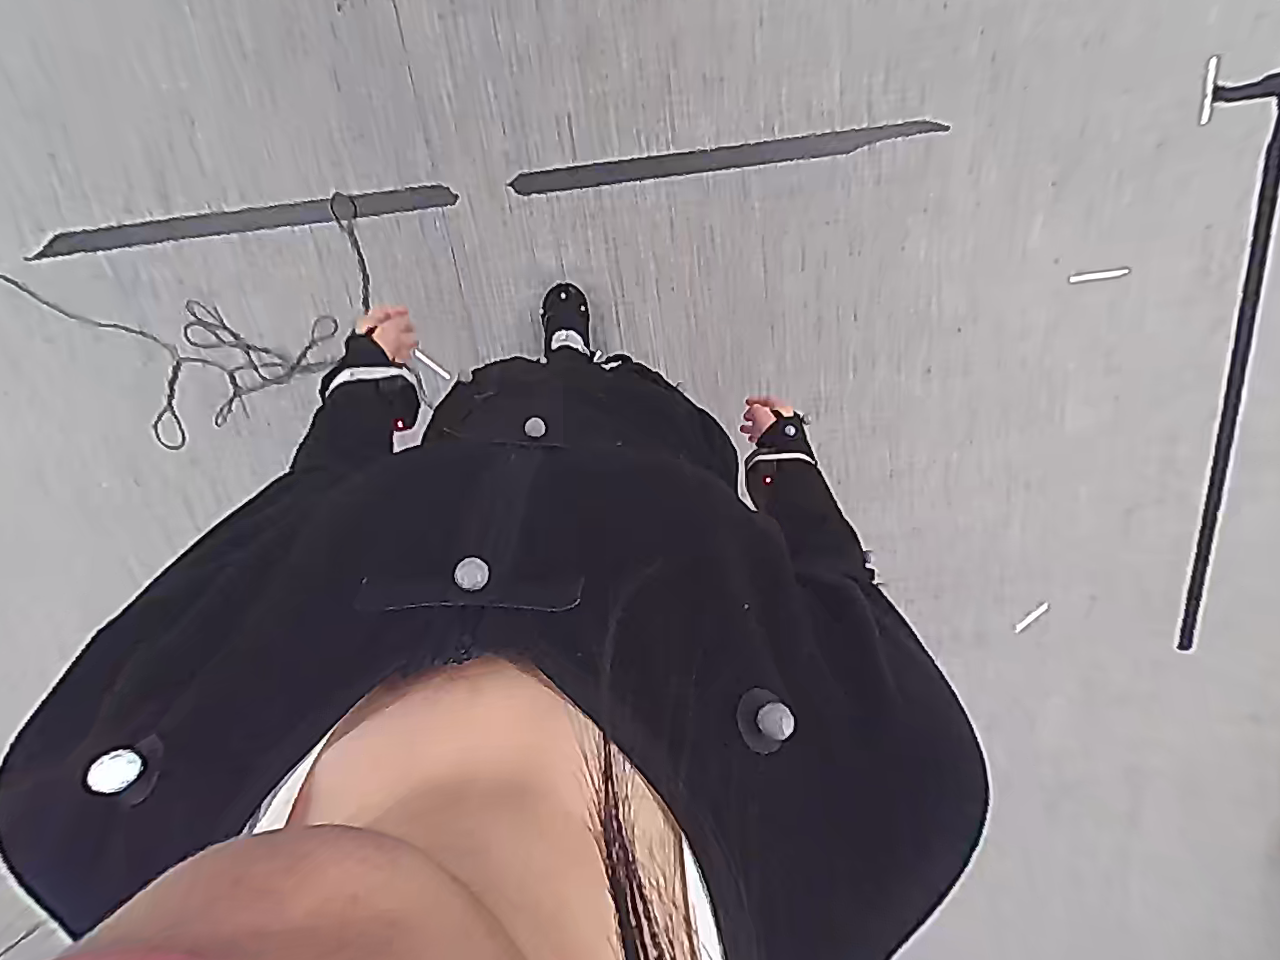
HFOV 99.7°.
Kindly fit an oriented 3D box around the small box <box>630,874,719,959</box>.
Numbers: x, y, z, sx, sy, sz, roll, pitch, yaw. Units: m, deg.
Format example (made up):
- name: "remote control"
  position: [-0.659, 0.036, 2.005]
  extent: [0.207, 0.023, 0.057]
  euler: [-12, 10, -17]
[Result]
- name: "small box"
  position: [0.066, 0.946, 1.110]
  extent: [0.168, 0.176, 0.179]
  euler: [-4, 108, -1]
